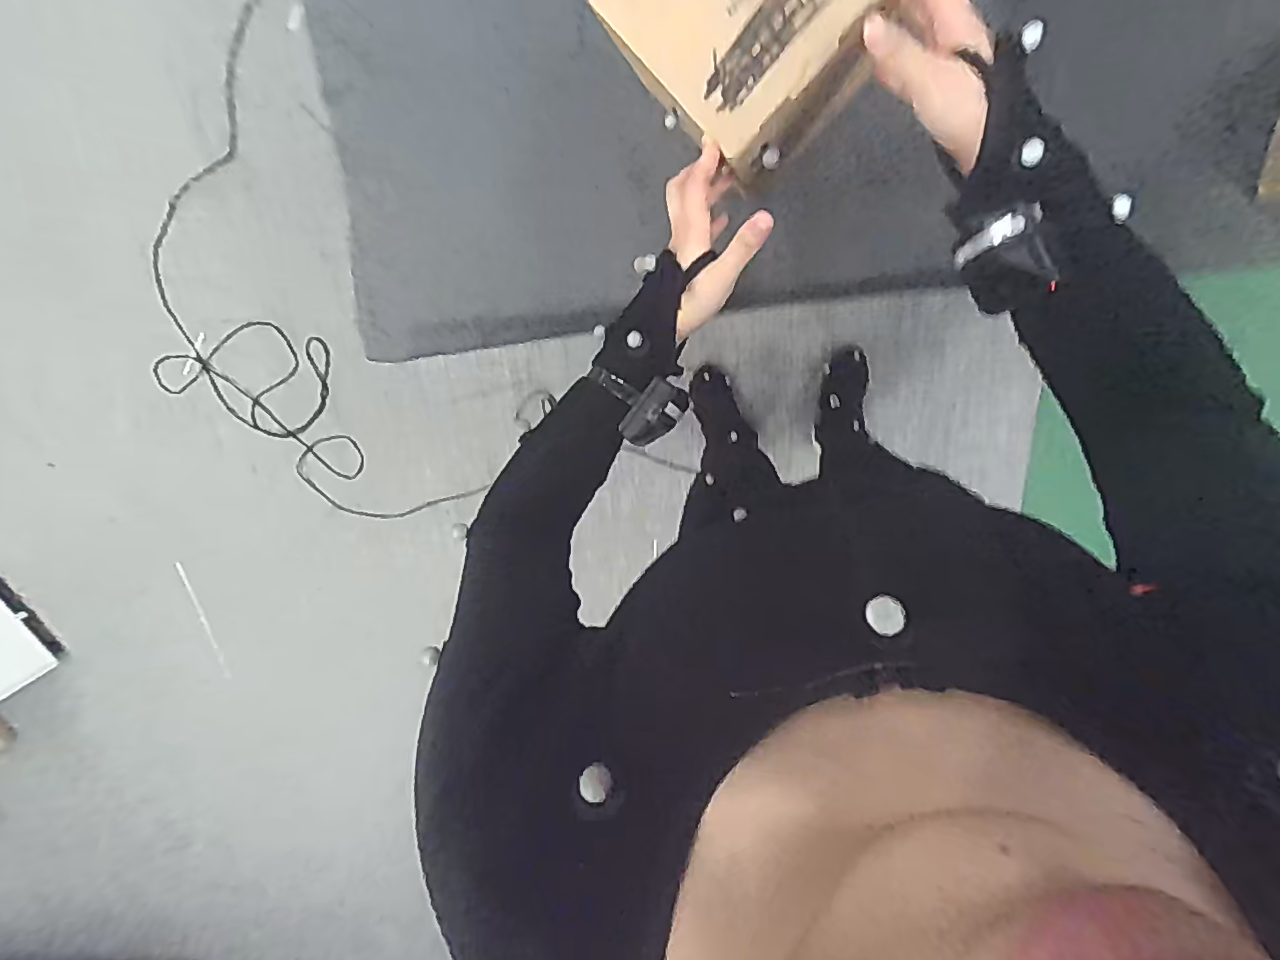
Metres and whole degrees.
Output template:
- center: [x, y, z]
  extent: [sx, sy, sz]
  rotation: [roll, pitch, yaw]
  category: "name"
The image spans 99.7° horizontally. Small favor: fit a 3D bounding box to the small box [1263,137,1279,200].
- center: [0.713, -0.340, 0.452]
  extent: [0.179, 0.176, 0.168]
  rotation: [2, 107, 5]
  category: "small box"
